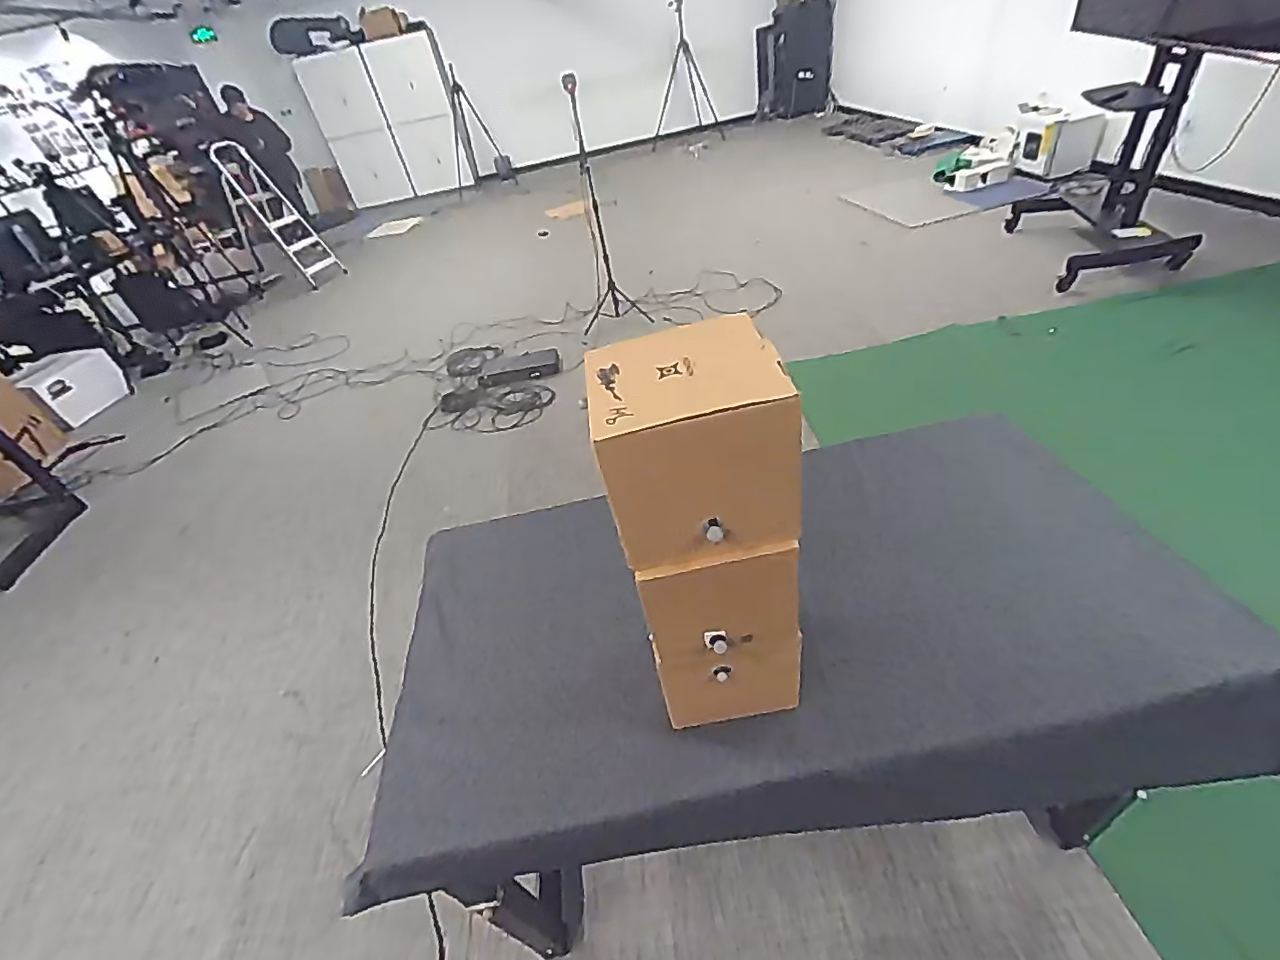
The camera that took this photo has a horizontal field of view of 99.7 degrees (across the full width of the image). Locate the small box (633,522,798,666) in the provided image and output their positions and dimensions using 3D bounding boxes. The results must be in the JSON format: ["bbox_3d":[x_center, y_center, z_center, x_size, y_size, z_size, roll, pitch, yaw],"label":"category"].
[{"bbox_3d":[0.081,0.091,0.647,0.168,0.176,0.179,-13,40,3],"label":"small box"}]

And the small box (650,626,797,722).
[{"bbox_3d":[0.110,0.212,0.750,0.179,0.176,0.168,-11,39,2],"label":"small box"}]

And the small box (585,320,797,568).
[{"bbox_3d":[0.048,-0.035,0.547,0.179,0.176,0.168,-12,39,3],"label":"small box"}]
